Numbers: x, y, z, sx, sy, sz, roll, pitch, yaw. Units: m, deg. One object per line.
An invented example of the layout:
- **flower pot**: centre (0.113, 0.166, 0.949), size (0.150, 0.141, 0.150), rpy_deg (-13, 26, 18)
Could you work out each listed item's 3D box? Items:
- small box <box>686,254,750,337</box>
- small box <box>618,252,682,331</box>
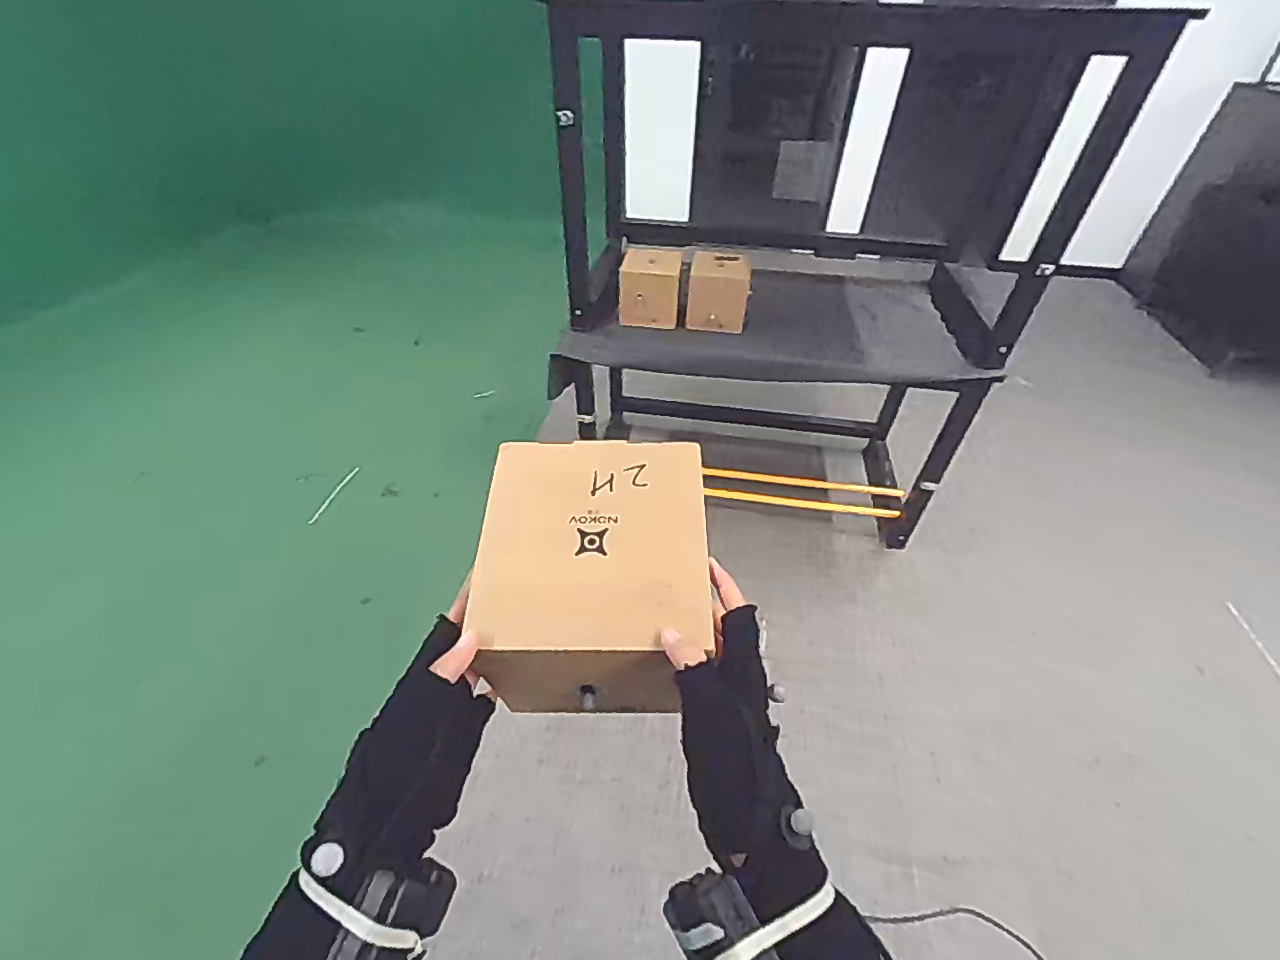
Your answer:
- **small box**: centre (0.227, -0.544, 1.593), size (0.168, 0.176, 0.179), rpy_deg (6, 44, 6)
- **small box**: centre (0.031, -0.558, 1.604), size (0.168, 0.176, 0.179), rpy_deg (6, 42, 5)
